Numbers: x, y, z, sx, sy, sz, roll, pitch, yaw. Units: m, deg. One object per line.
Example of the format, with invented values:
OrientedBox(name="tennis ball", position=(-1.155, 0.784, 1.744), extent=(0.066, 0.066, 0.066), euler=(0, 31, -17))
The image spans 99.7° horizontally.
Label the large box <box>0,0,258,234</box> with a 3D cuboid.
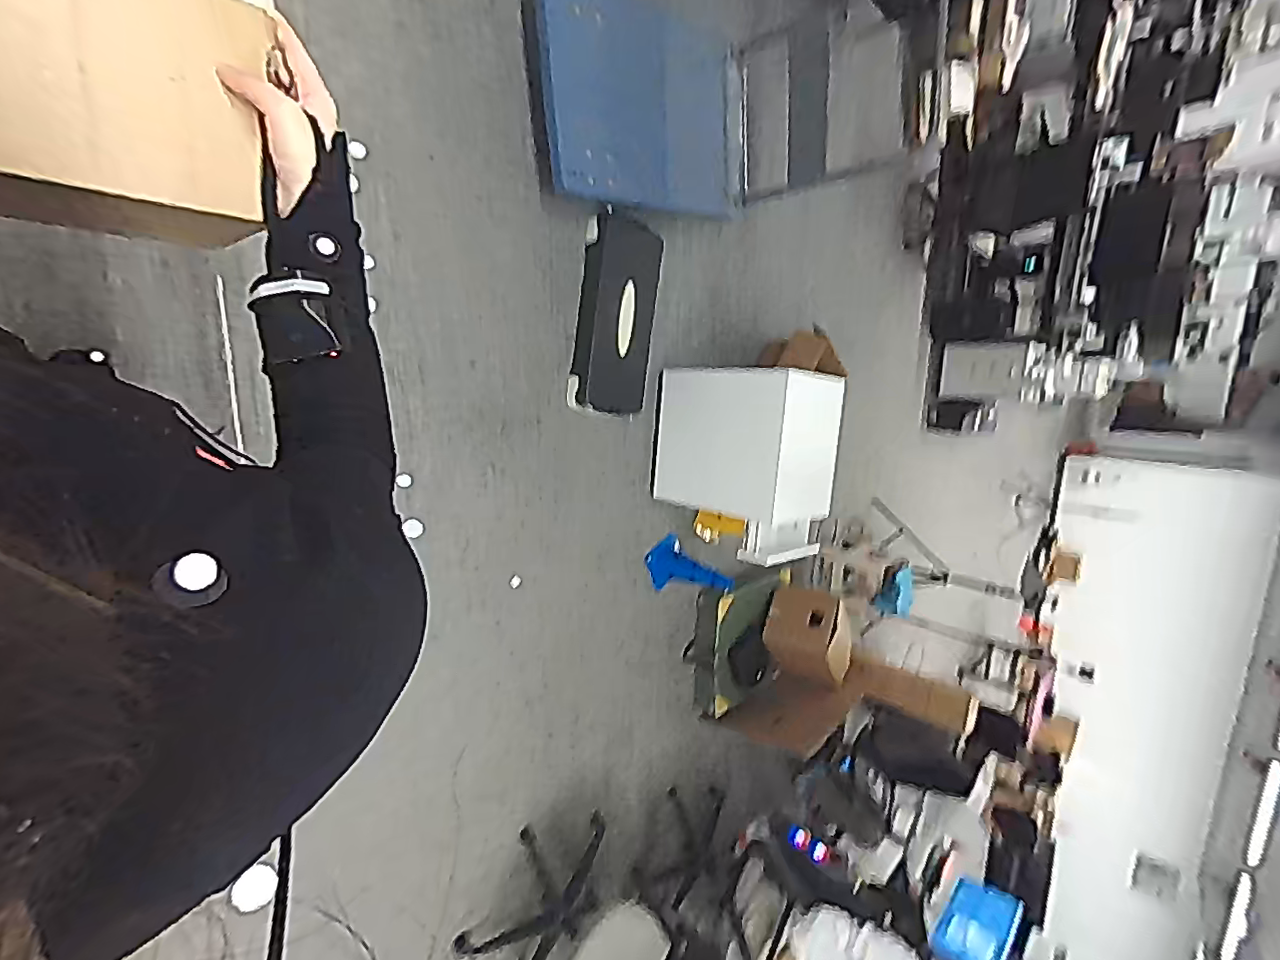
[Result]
OrientedBox(name="large box", position=(-0.544, -0.371, 0.370), extent=(0.408, 0.320, 0.320), euler=(-10, 110, -42))
